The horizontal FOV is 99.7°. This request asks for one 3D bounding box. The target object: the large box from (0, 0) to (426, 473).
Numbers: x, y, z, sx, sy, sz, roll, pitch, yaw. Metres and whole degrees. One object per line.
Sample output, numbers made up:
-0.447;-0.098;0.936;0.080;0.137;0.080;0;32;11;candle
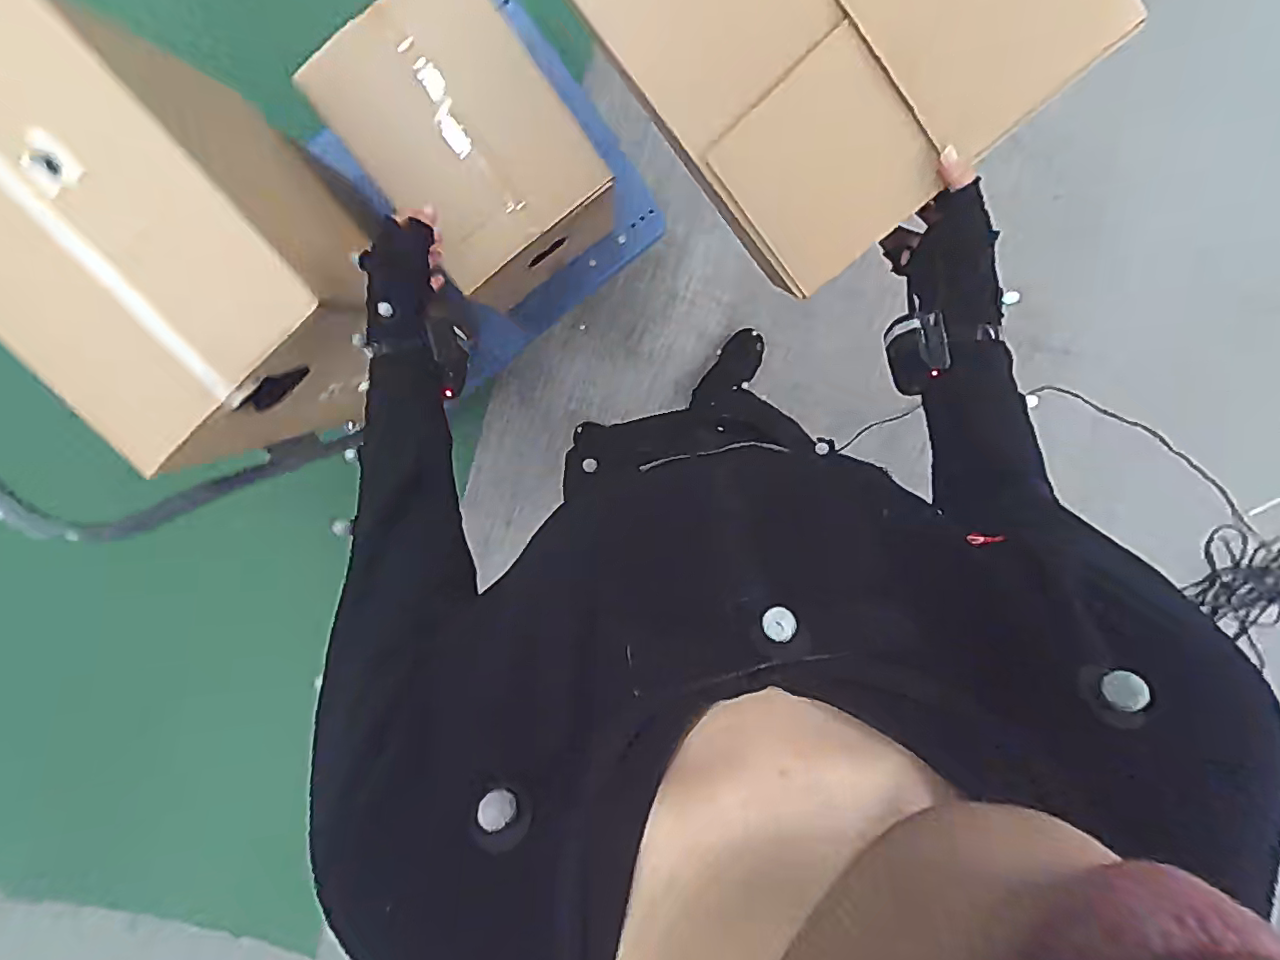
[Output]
-0.583;-0.280;0.720;0.320;0.320;0.408;-38;100;10;large box
